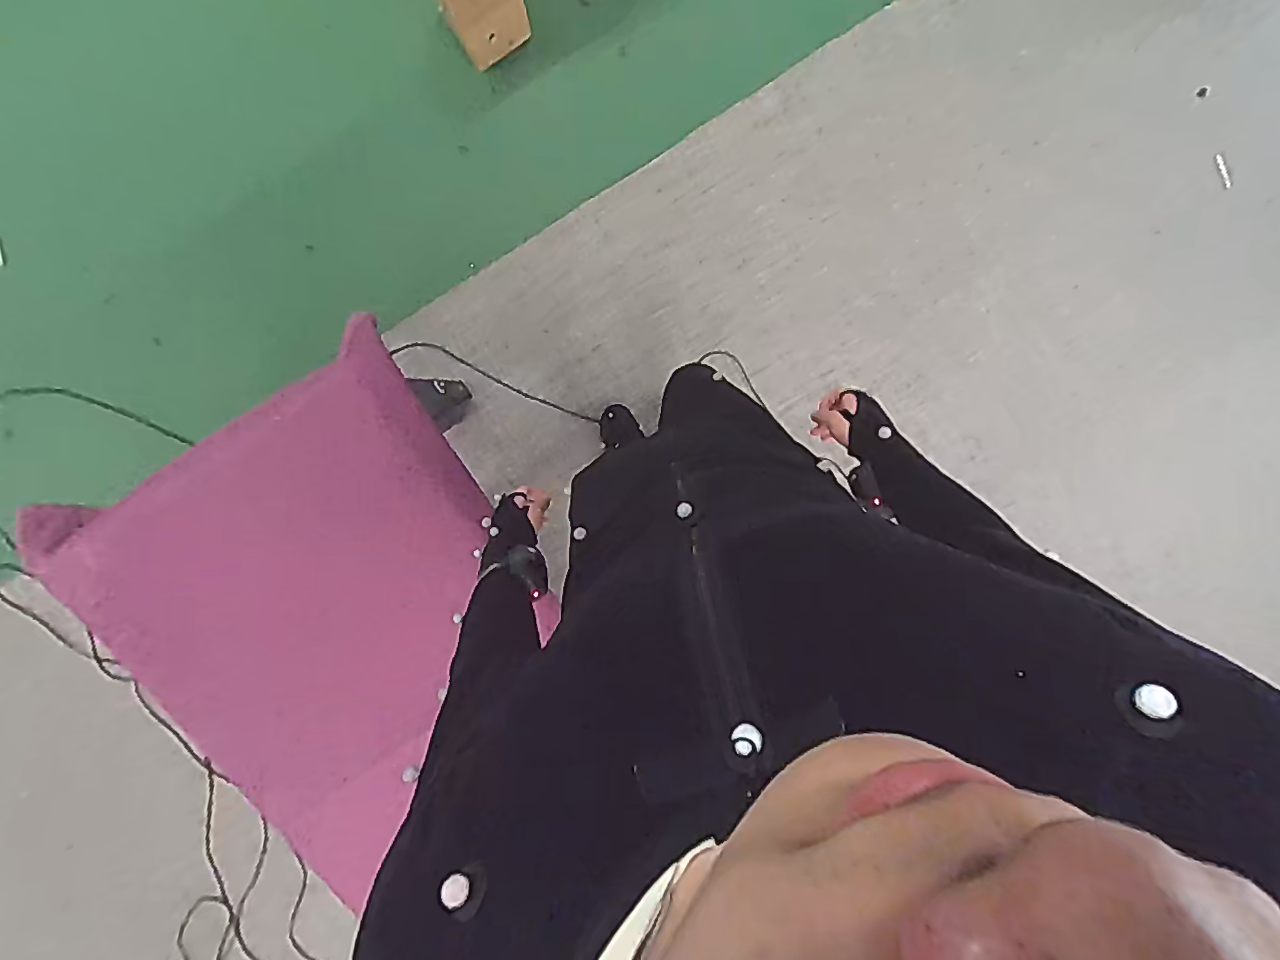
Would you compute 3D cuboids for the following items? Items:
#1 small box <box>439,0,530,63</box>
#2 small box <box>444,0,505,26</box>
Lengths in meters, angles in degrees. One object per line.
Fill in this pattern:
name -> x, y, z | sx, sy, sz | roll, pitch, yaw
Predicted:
small box -> -0.391, -1.176, 1.323 | 0.168, 0.176, 0.179 | -34, 99, 3
small box -> -0.383, -1.144, 1.161 | 0.179, 0.176, 0.168 | -34, 99, 3
